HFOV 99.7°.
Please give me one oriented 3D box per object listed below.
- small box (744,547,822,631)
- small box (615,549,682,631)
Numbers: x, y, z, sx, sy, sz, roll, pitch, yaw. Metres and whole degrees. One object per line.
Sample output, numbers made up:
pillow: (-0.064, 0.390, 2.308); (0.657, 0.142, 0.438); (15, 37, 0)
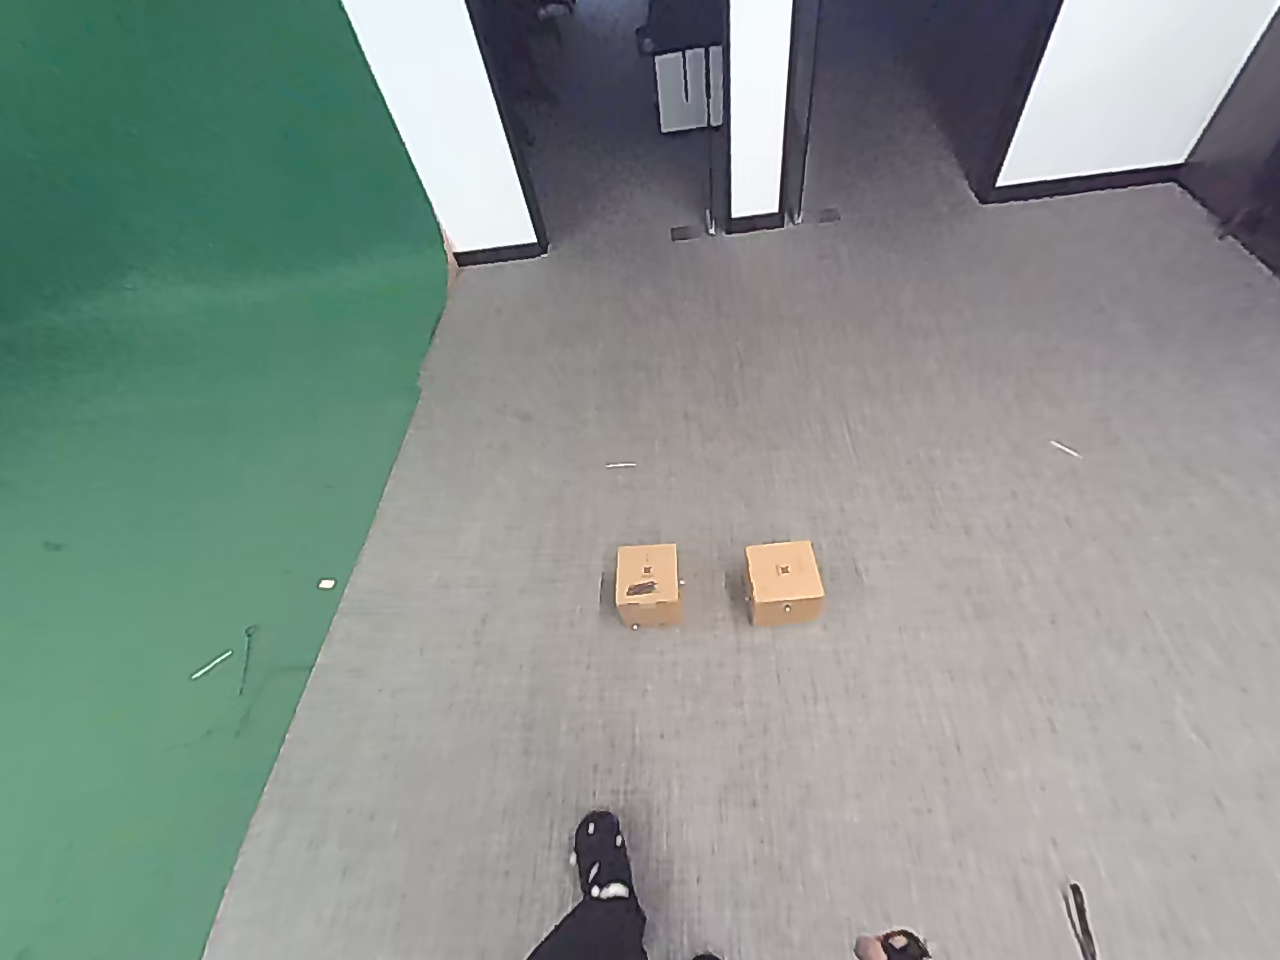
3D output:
small box: (0.379, 0.301, 1.465); (0.179, 0.176, 0.168); (-6, 53, 5)
small box: (0.029, 0.314, 1.515); (0.168, 0.176, 0.179); (-4, 52, 7)
